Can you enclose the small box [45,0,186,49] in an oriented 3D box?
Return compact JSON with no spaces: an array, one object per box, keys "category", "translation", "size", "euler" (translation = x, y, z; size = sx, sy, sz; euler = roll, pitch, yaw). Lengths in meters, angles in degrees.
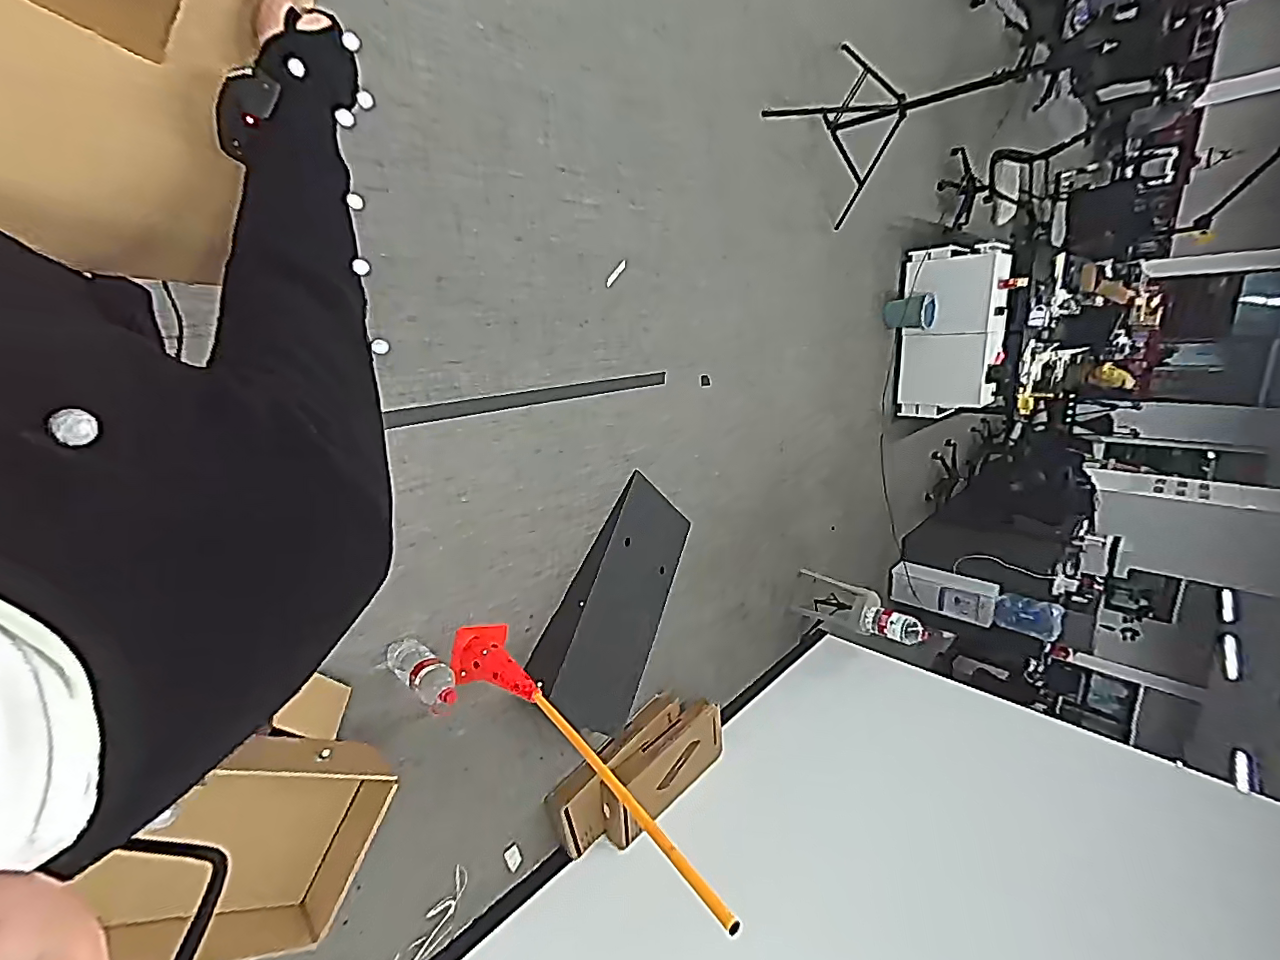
[{"category":"small box","translation":[-0.400,-0.437,0.353],"size":[0.179,0.176,0.168],"euler":[8,96,-47]}]
